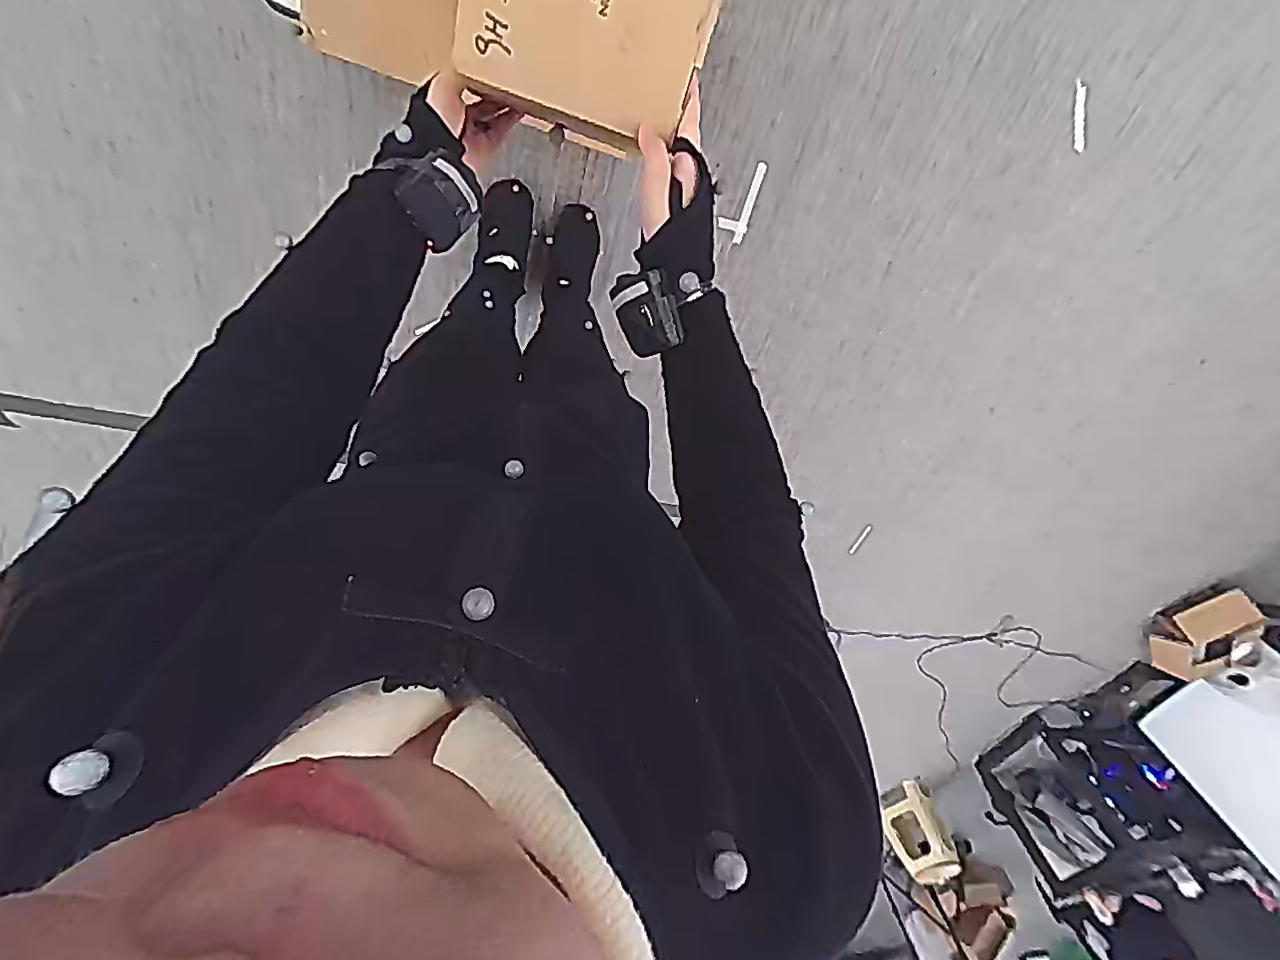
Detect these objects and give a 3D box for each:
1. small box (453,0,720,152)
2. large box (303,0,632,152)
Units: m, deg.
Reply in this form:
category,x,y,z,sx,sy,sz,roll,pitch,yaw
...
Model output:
category,x,y,z,sx,sy,sz,roll,pitch,yaw
small box,-0.043,-0.389,0.439,0.179,0.176,0.168,10,118,-18
large box,-0.176,-0.684,0.718,0.408,0.320,0.320,10,124,-16
